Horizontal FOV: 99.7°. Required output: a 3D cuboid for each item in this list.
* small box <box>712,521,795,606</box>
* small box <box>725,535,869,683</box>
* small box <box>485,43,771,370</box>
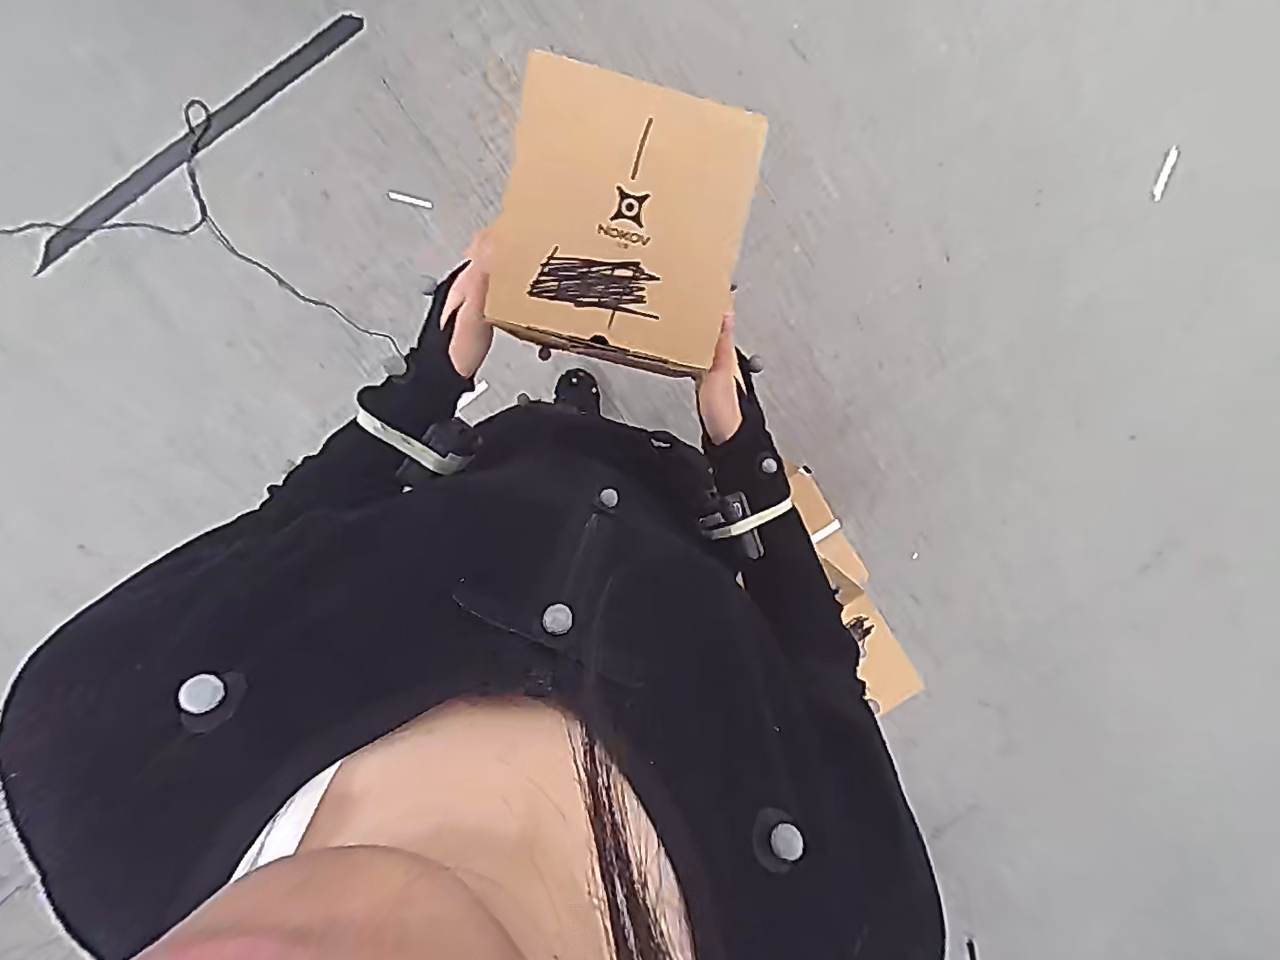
[{"bbox_3d":[0.274,0.210,1.158,0.179,0.176,0.168,-35,98,5],"label":"small box"},{"bbox_3d":[0.278,0.227,0.996,0.168,0.176,0.179,-35,98,4],"label":"small box"},{"bbox_3d":[-0.014,-0.194,0.447,0.168,0.176,0.179,13,97,-6],"label":"small box"}]
